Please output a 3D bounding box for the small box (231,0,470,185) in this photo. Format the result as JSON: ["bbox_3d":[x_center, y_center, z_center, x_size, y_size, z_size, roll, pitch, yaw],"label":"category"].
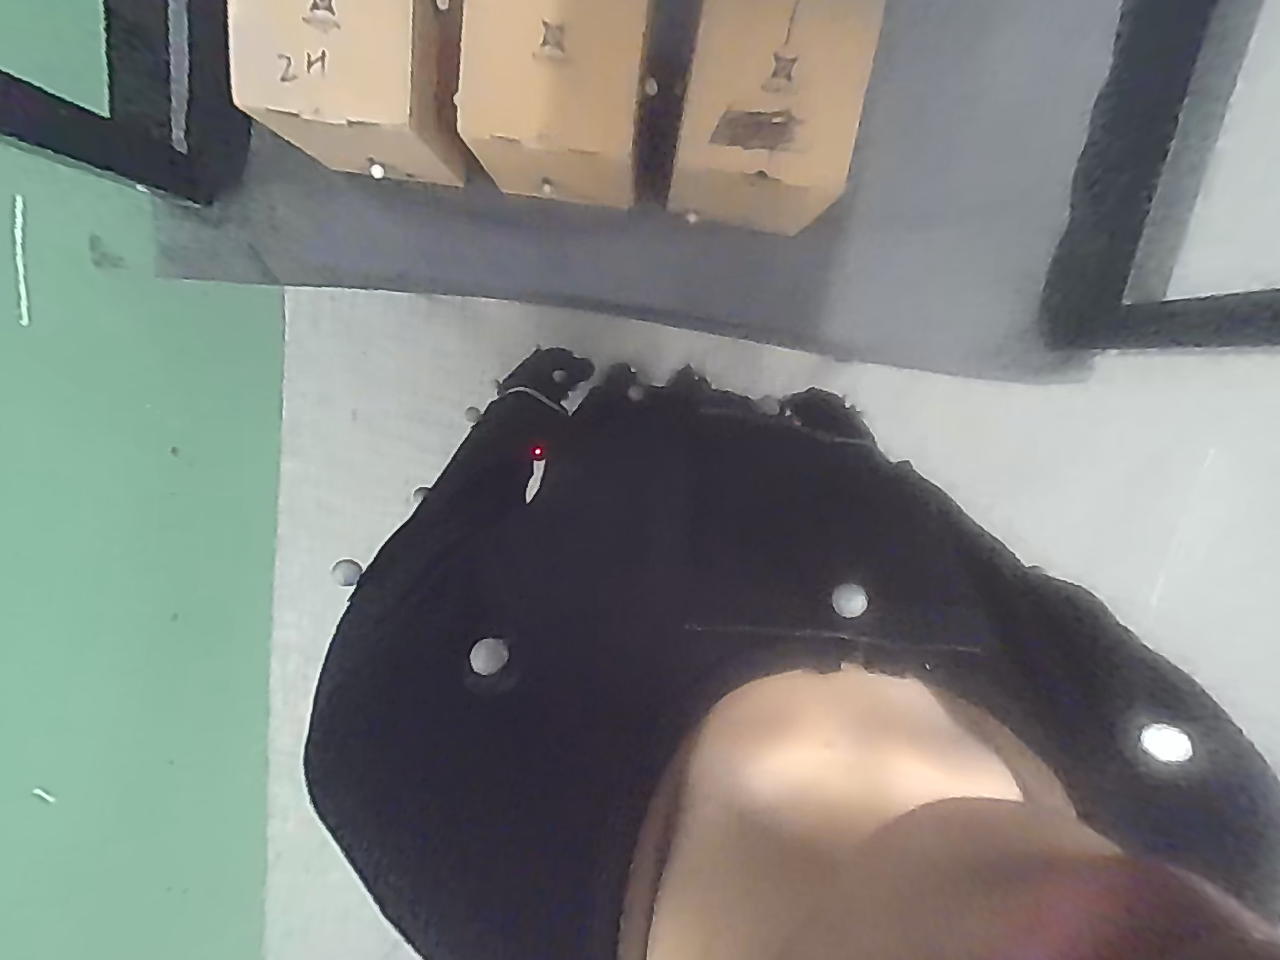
[{"bbox_3d":[-0.284,-0.439,0.565,0.168,0.176,0.179,7,101,-2],"label":"small box"}]
